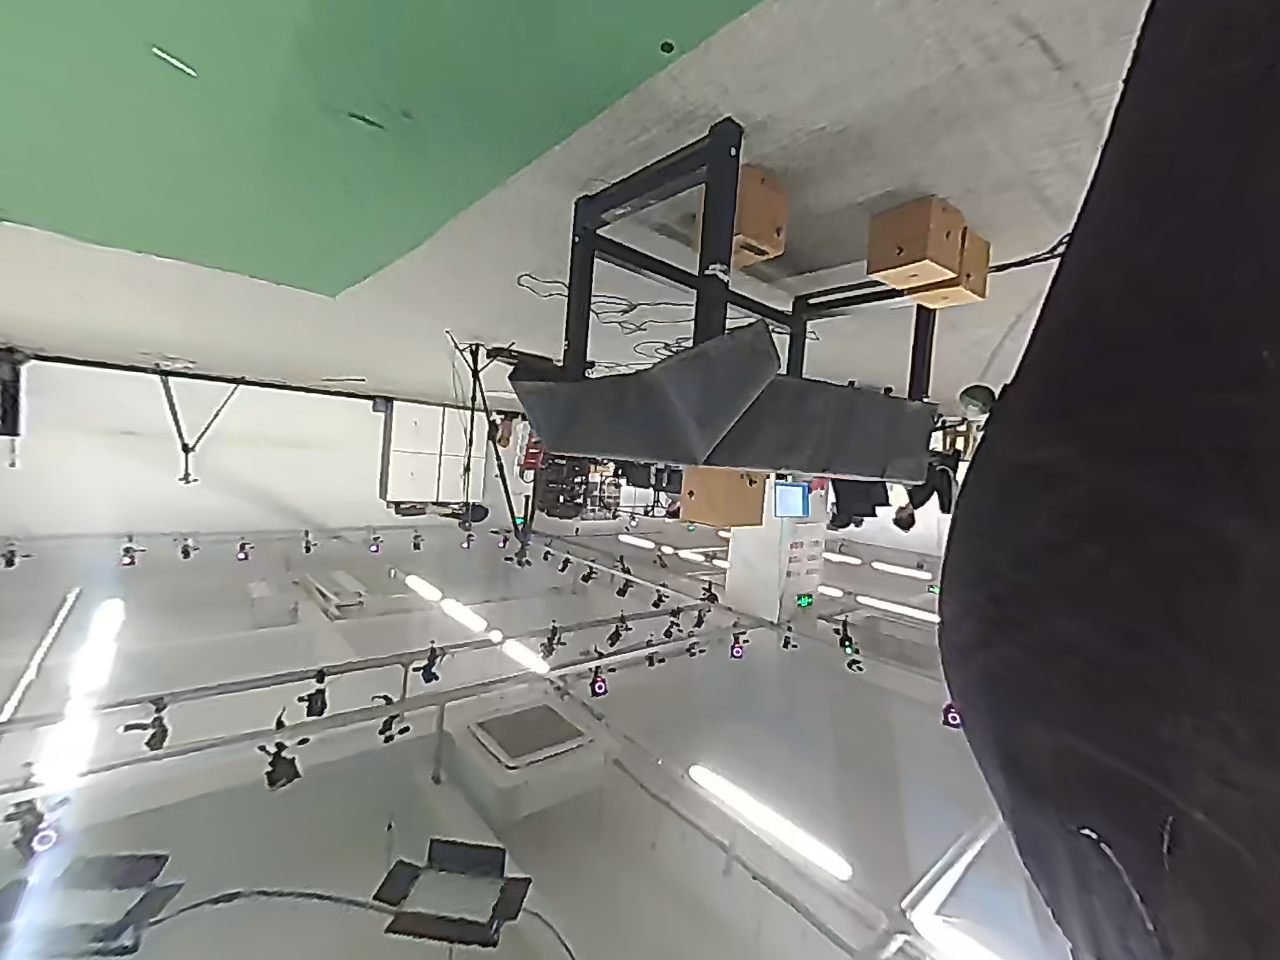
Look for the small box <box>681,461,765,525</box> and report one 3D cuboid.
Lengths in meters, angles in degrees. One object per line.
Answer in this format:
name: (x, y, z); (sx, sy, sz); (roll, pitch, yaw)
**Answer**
small box: (0.241, 0.032, 1.546); (0.168, 0.176, 0.179); (1, -176, -38)
